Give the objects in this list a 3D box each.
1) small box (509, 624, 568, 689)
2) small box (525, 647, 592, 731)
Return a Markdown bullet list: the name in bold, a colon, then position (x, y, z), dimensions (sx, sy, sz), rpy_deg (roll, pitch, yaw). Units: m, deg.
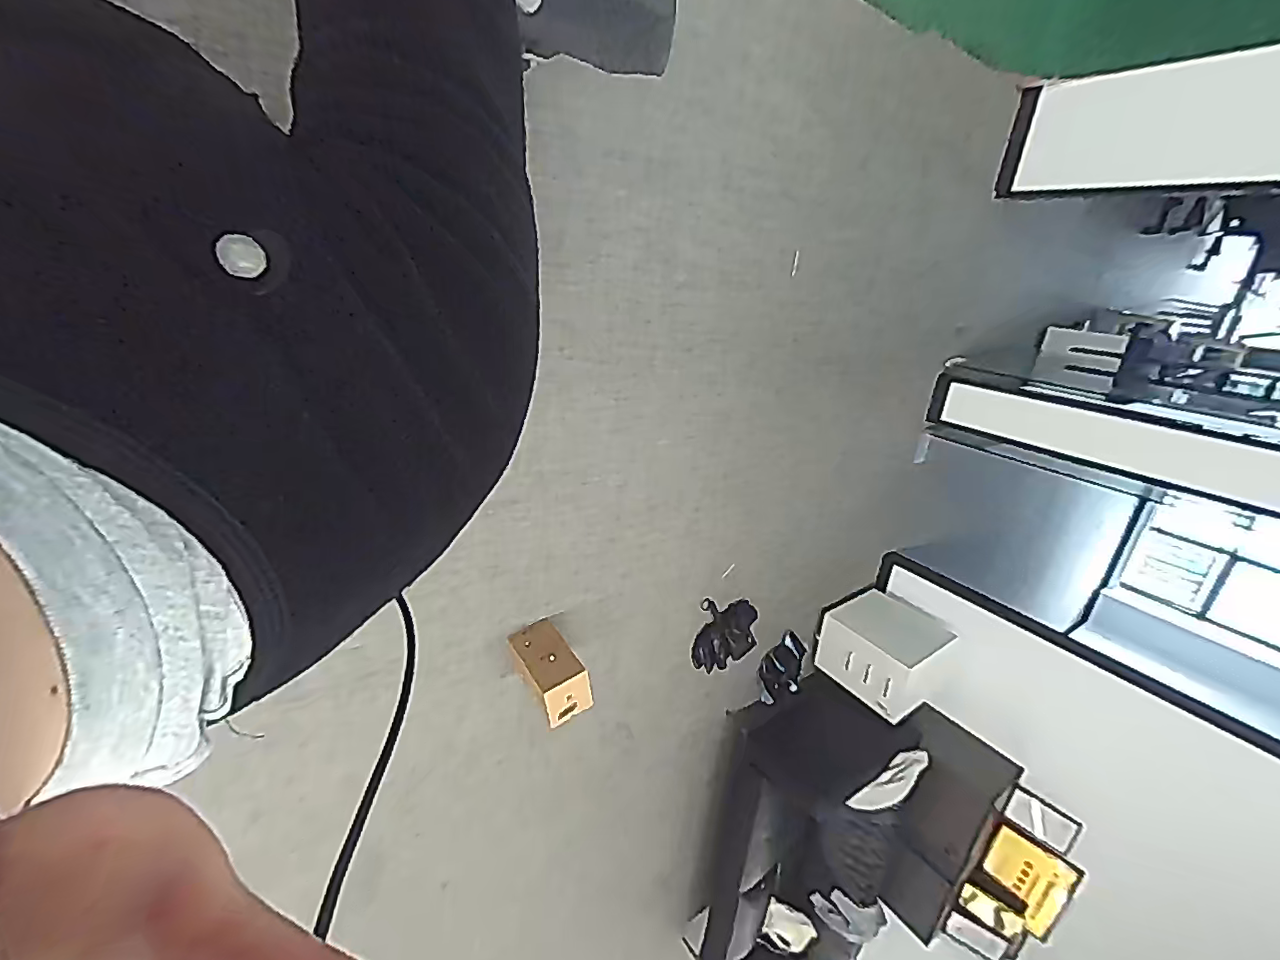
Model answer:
- **small box**: position (-0.371, 0.662, 2.007), dimensions (0.168, 0.176, 0.179), rpy_deg (-22, 124, -26)
- **small box**: position (-0.284, 0.720, 1.880), dimensions (0.168, 0.176, 0.179), rpy_deg (-21, 121, -27)
